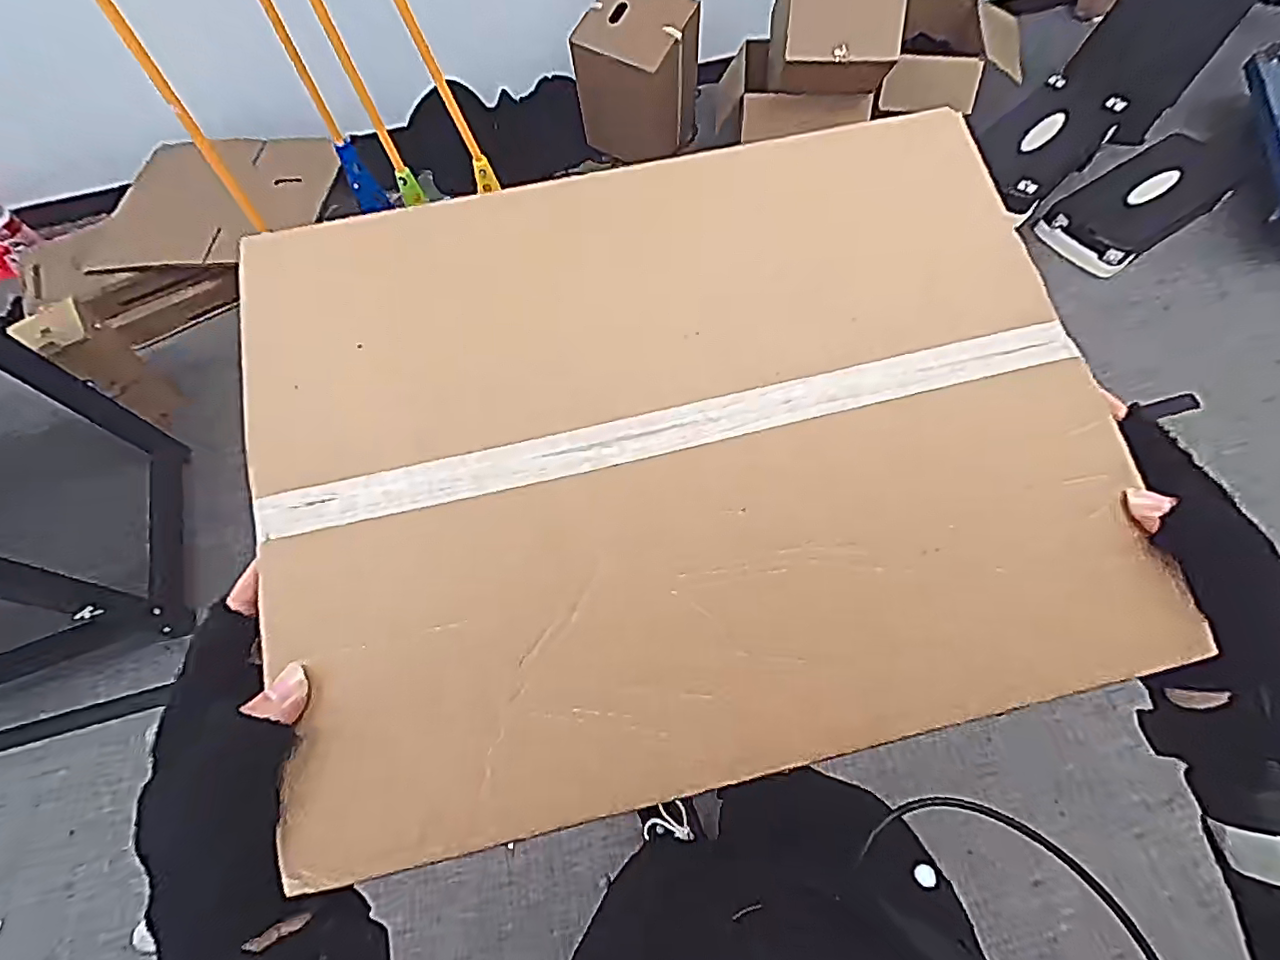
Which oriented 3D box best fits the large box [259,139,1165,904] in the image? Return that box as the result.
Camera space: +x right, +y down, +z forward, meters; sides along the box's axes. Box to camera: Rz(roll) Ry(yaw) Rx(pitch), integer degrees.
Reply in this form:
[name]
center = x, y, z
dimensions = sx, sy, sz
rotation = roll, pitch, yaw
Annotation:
[large box]
center = 0.020, 0.023, 0.417
dimensions = 0.408, 0.320, 0.320
rotation = -13, 75, -3
